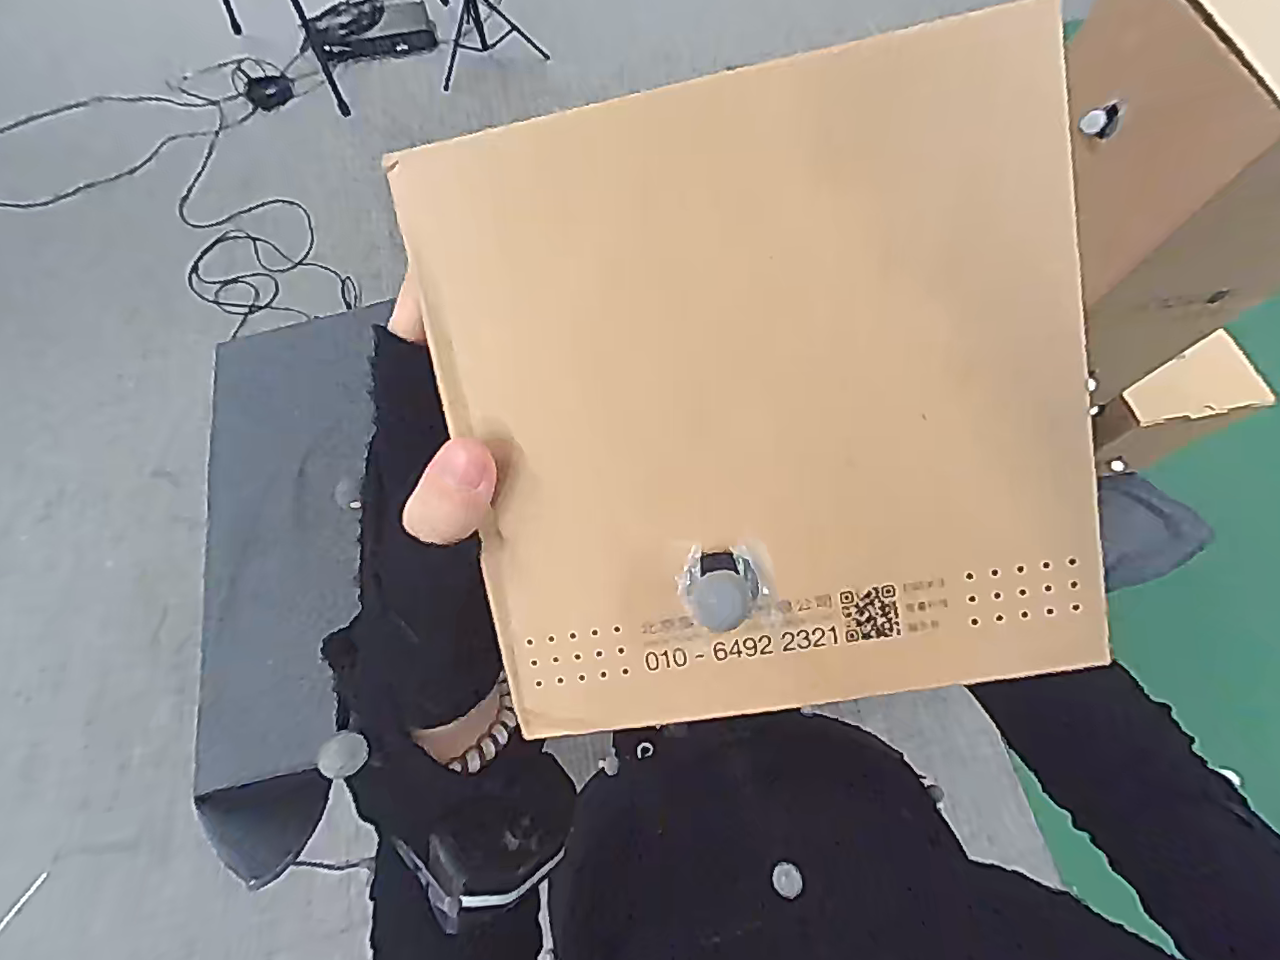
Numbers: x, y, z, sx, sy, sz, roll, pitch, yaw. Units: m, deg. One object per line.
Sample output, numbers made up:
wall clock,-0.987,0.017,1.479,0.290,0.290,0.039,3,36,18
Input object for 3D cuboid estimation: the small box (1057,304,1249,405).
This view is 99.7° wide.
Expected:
small box,0.408,-0.178,0.541,0.168,0.176,0.179,-9,68,-2

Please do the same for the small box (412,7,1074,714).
small box,0.037,-0.030,0.229,0.168,0.179,0.176,-11,98,5

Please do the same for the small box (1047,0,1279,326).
small box,0.403,-0.239,0.389,0.168,0.176,0.179,-8,67,-1
